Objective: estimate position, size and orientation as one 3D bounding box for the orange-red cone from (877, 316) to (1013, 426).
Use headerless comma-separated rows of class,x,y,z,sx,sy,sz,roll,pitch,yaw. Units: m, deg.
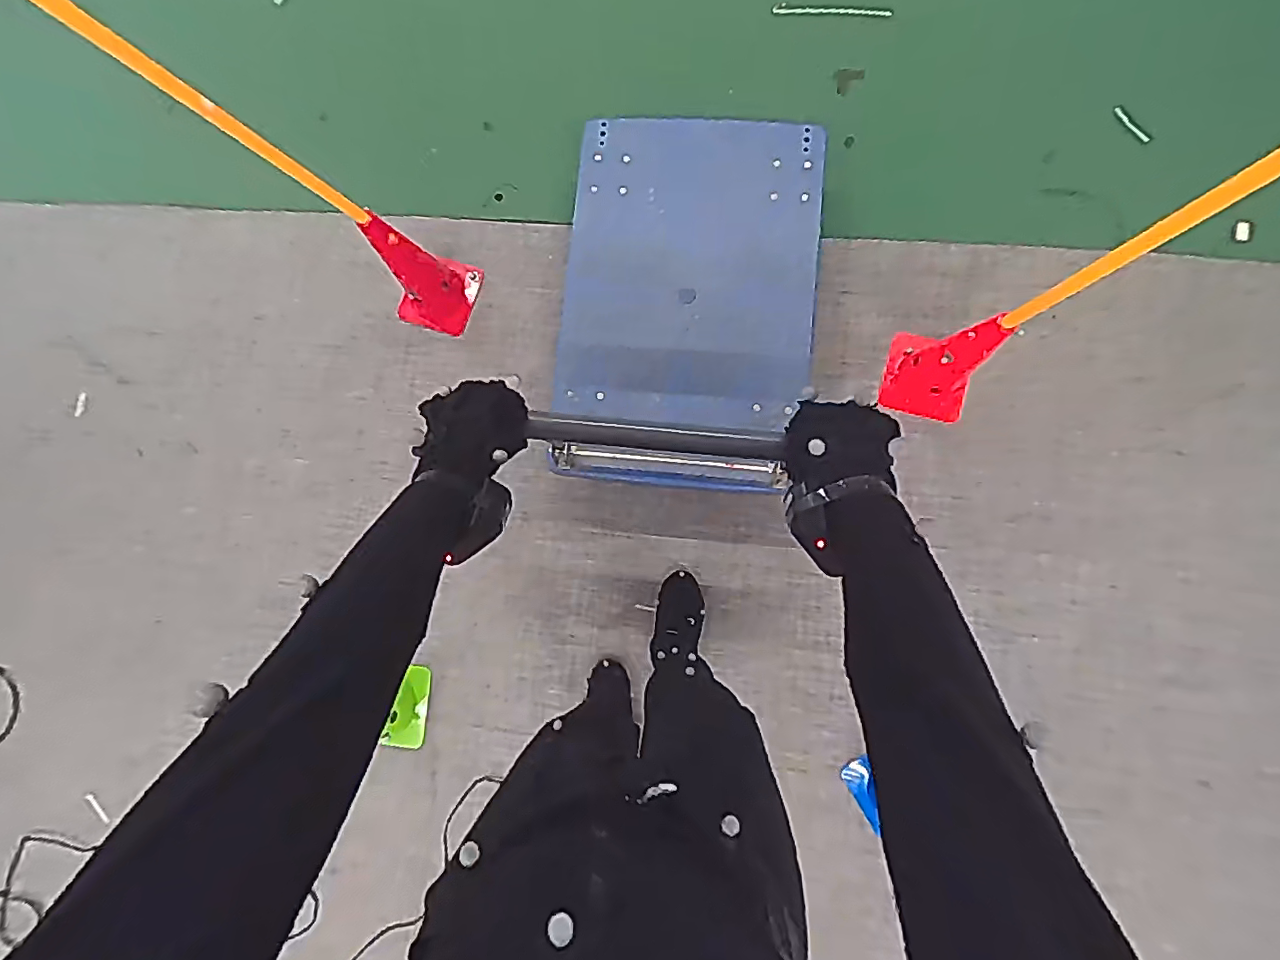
orange-red cone,0.693,-0.266,1.179,0.198,0.360,0.199,17,86,7
